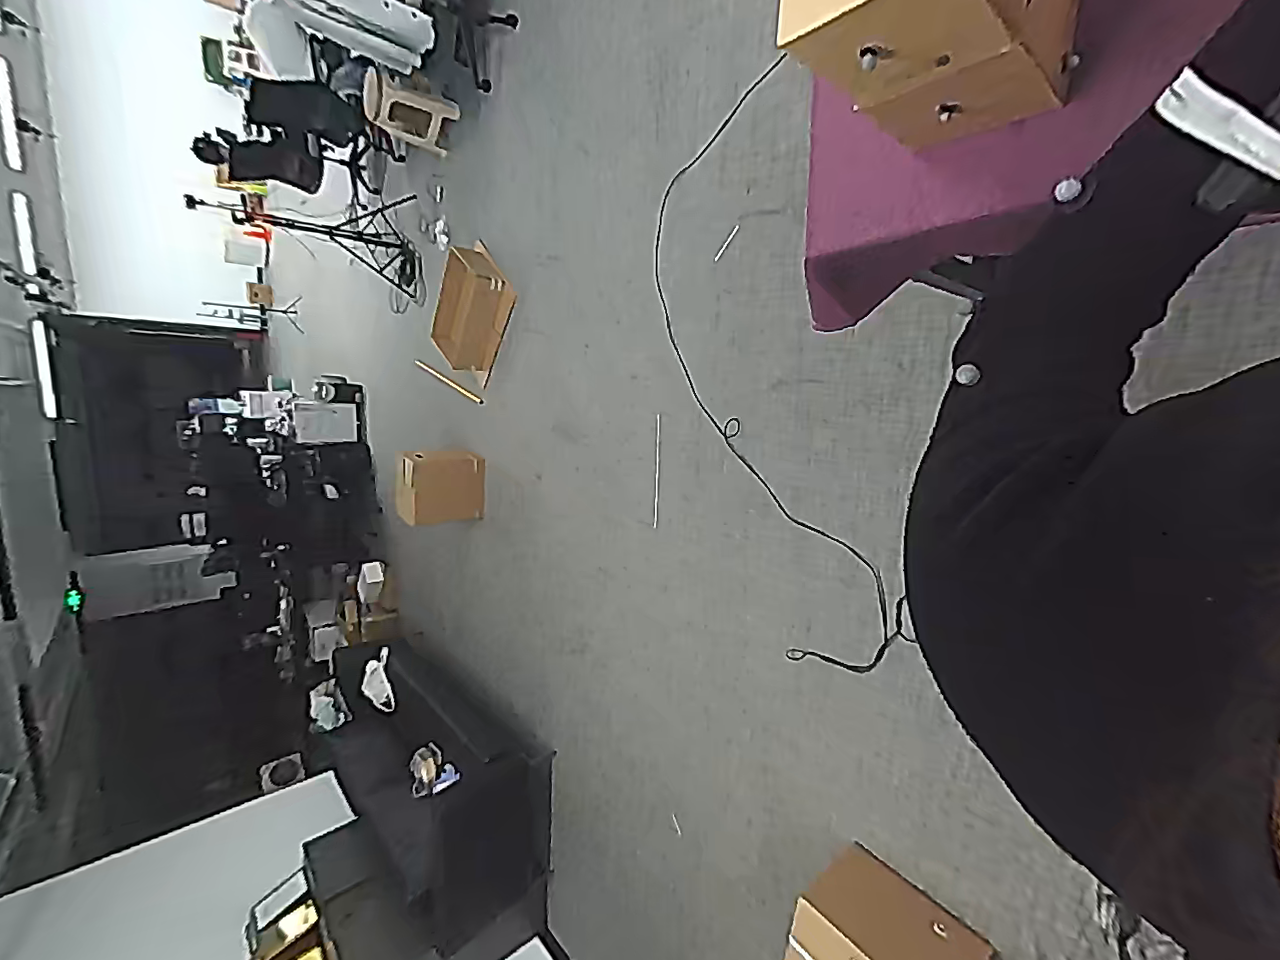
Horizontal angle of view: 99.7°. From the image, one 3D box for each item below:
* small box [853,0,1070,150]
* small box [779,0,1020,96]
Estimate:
[{"bbox_3d":[0.377,-0.520,0.631,0.179,0.176,0.168,11,102,48],"label":"small box"},{"bbox_3d":[0.257,-0.510,0.521,0.168,0.176,0.179,13,103,47],"label":"small box"}]
